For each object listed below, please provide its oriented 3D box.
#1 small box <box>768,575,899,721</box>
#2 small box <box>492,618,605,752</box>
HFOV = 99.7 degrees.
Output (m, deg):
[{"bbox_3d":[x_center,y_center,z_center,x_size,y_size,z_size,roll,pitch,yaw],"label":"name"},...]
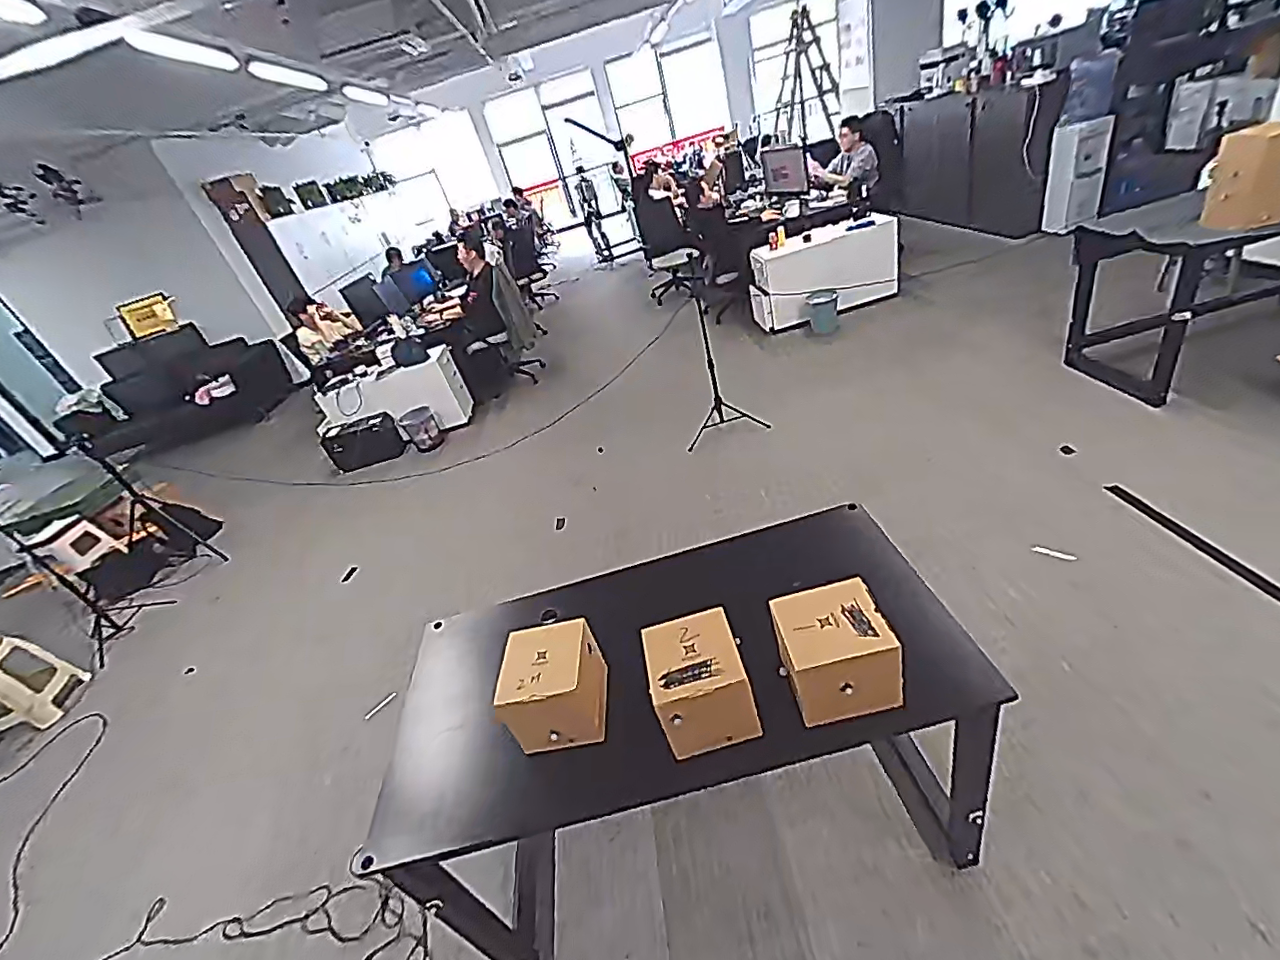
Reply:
[{"bbox_3d":[0.350,0.307,0.986,0.179,0.176,0.168,-17,32,5],"label":"small box"},{"bbox_3d":[-0.173,0.412,1.091,0.168,0.176,0.179,-14,33,8],"label":"small box"}]
